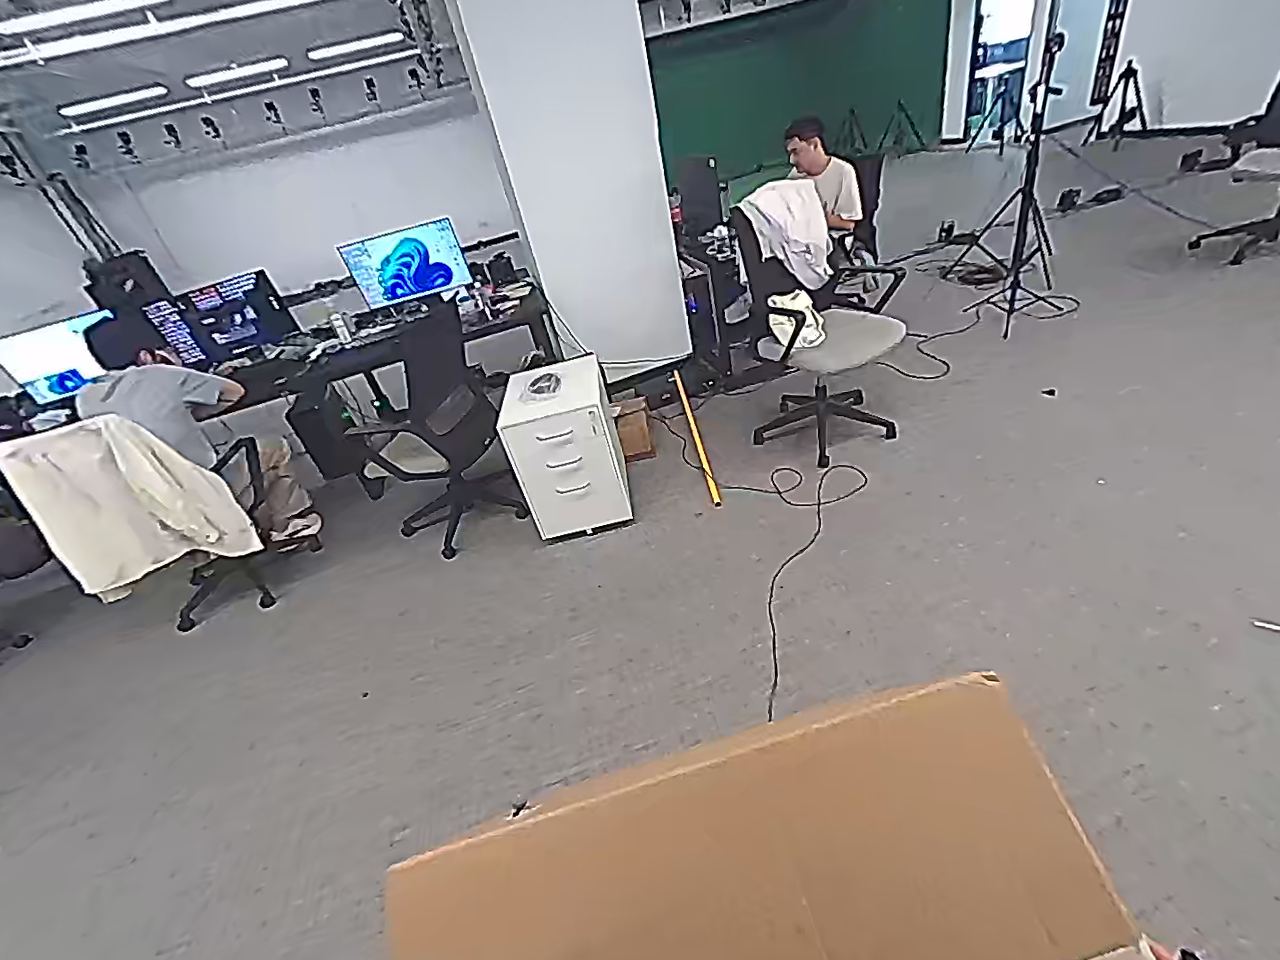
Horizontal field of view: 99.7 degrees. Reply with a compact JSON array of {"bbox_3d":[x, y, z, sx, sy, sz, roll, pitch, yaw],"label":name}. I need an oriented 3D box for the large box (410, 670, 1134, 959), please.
[{"bbox_3d":[0.094,0.380,0.427,0.408,0.320,0.320,-17,66,-3],"label":"large box"}]
